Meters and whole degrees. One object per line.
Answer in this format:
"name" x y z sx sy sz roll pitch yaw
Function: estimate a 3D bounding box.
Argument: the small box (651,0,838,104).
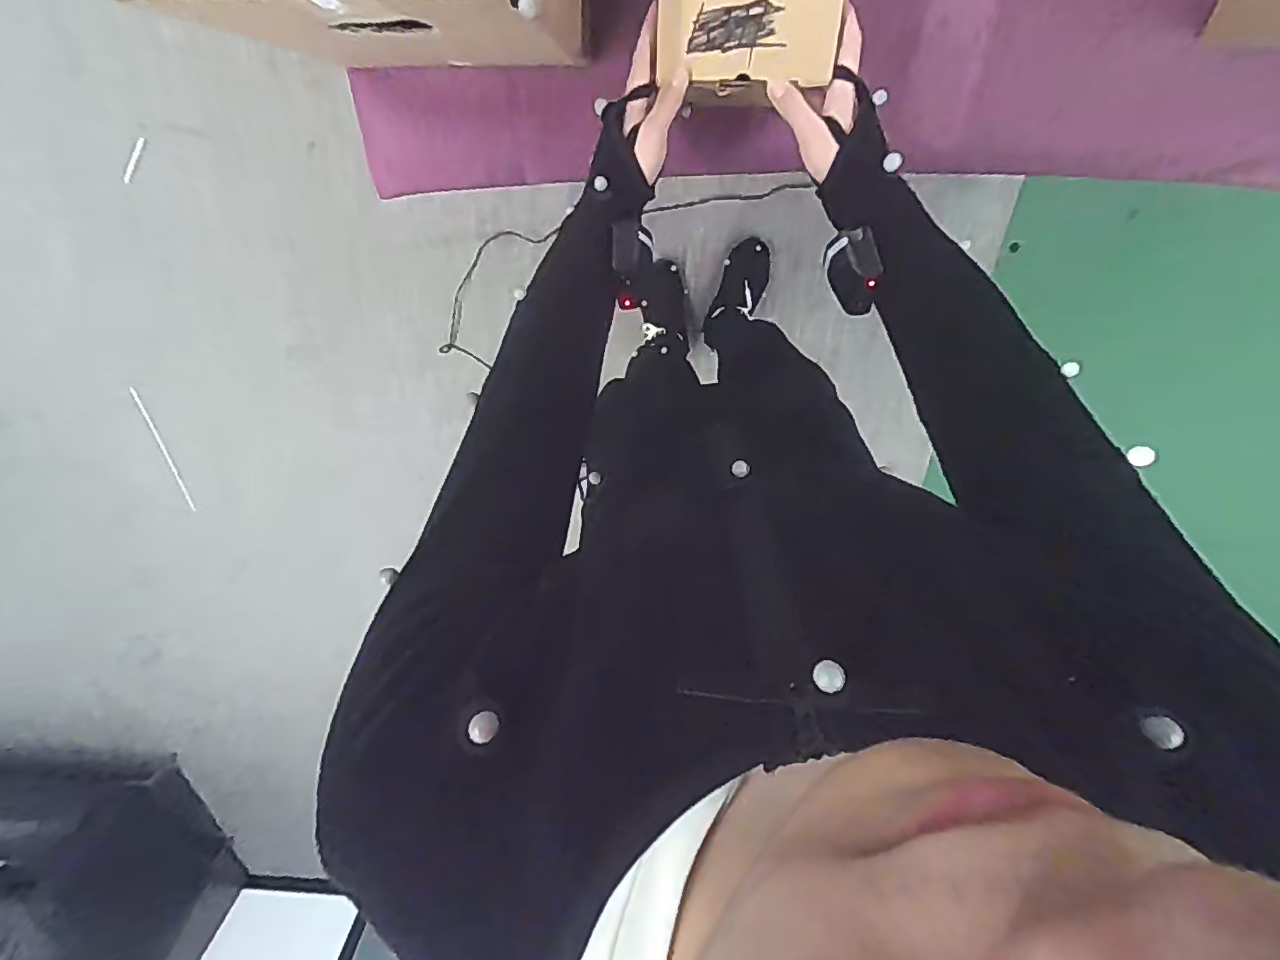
"small box" 0.099 -0.484 0.532 0.168 0.176 0.179 2 118 3
